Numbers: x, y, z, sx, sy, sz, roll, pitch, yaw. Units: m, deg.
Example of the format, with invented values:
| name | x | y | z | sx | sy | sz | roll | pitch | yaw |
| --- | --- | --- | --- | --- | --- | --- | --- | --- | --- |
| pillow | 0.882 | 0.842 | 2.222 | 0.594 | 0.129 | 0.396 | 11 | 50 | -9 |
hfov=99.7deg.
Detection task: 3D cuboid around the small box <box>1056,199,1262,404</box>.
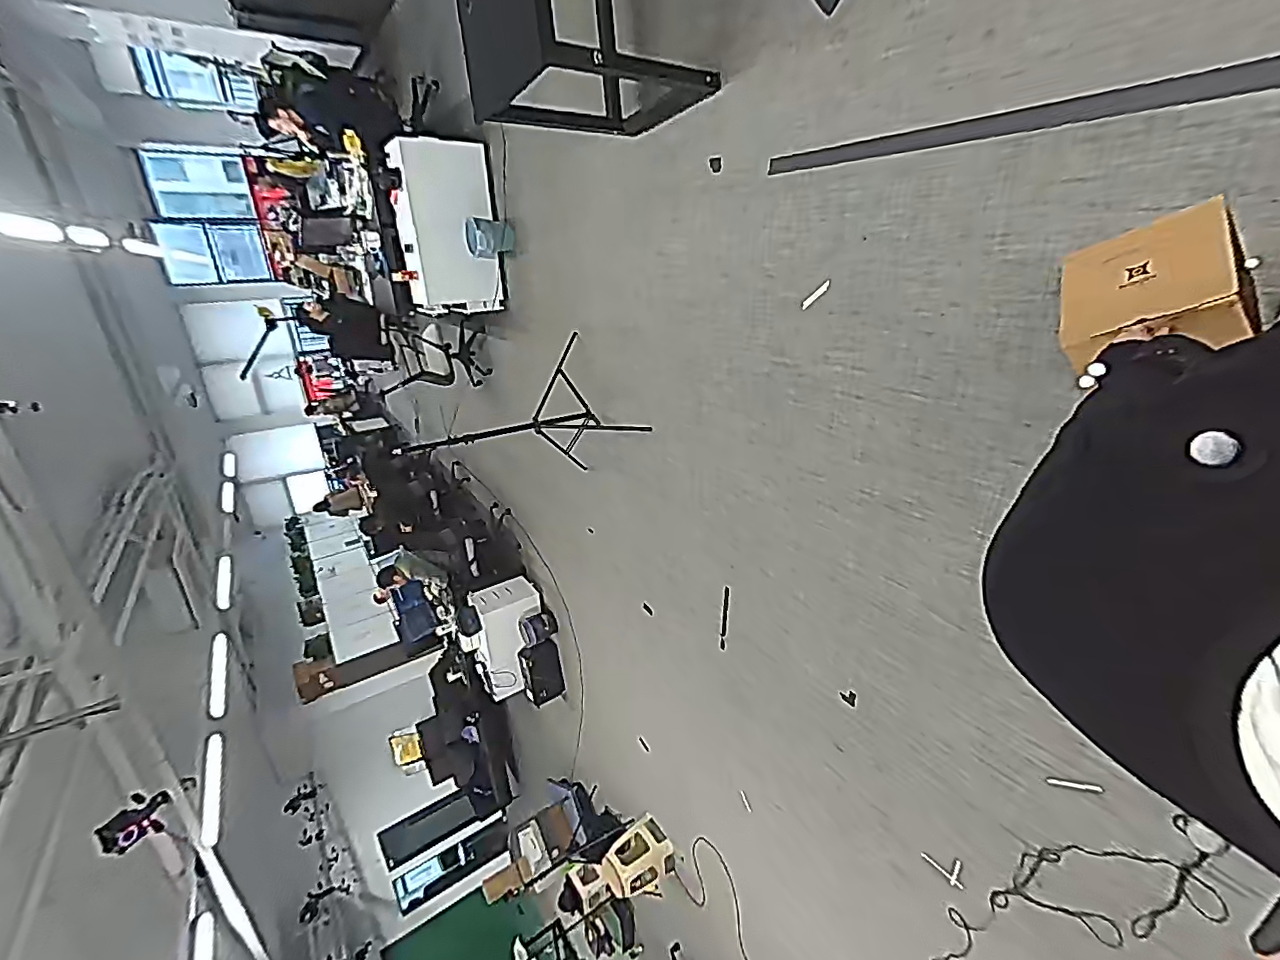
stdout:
| name | x | y | z | sx | sy | sz | roll | pitch | yaw |
| --- | --- | --- | --- | --- | --- | --- | --- | --- | --- |
| small box | 0.694 | -0.221 | 0.728 | 0.168 | 0.176 | 0.179 | -13 | 50 | 53 |
